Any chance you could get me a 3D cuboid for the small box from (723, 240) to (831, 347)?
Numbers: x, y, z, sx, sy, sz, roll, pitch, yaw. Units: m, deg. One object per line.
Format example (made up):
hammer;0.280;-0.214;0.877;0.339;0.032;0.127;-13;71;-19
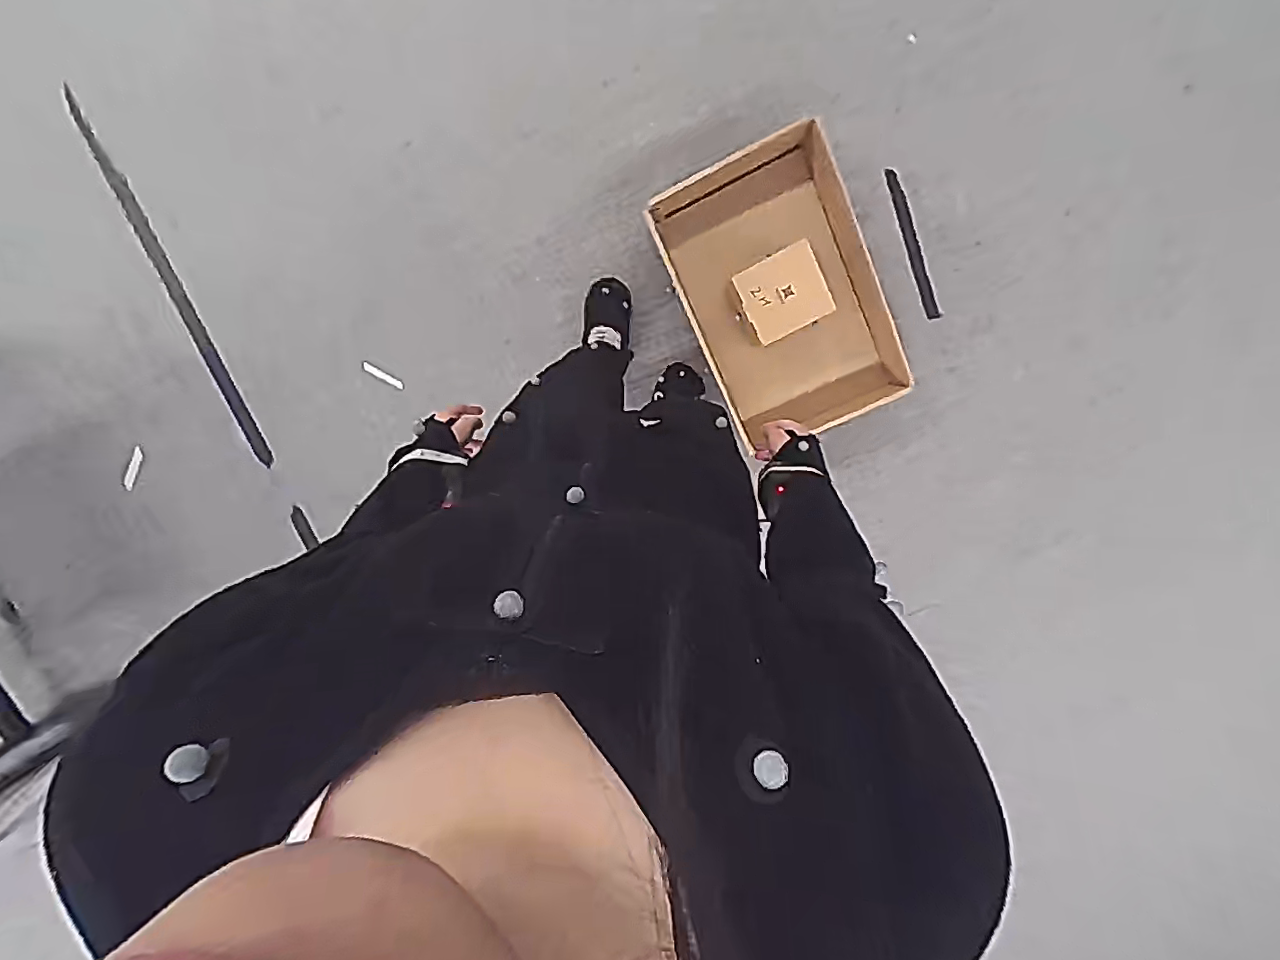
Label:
small box;0.305;-0.418;1.237;0.179;0.176;0.168;-25;100;10
